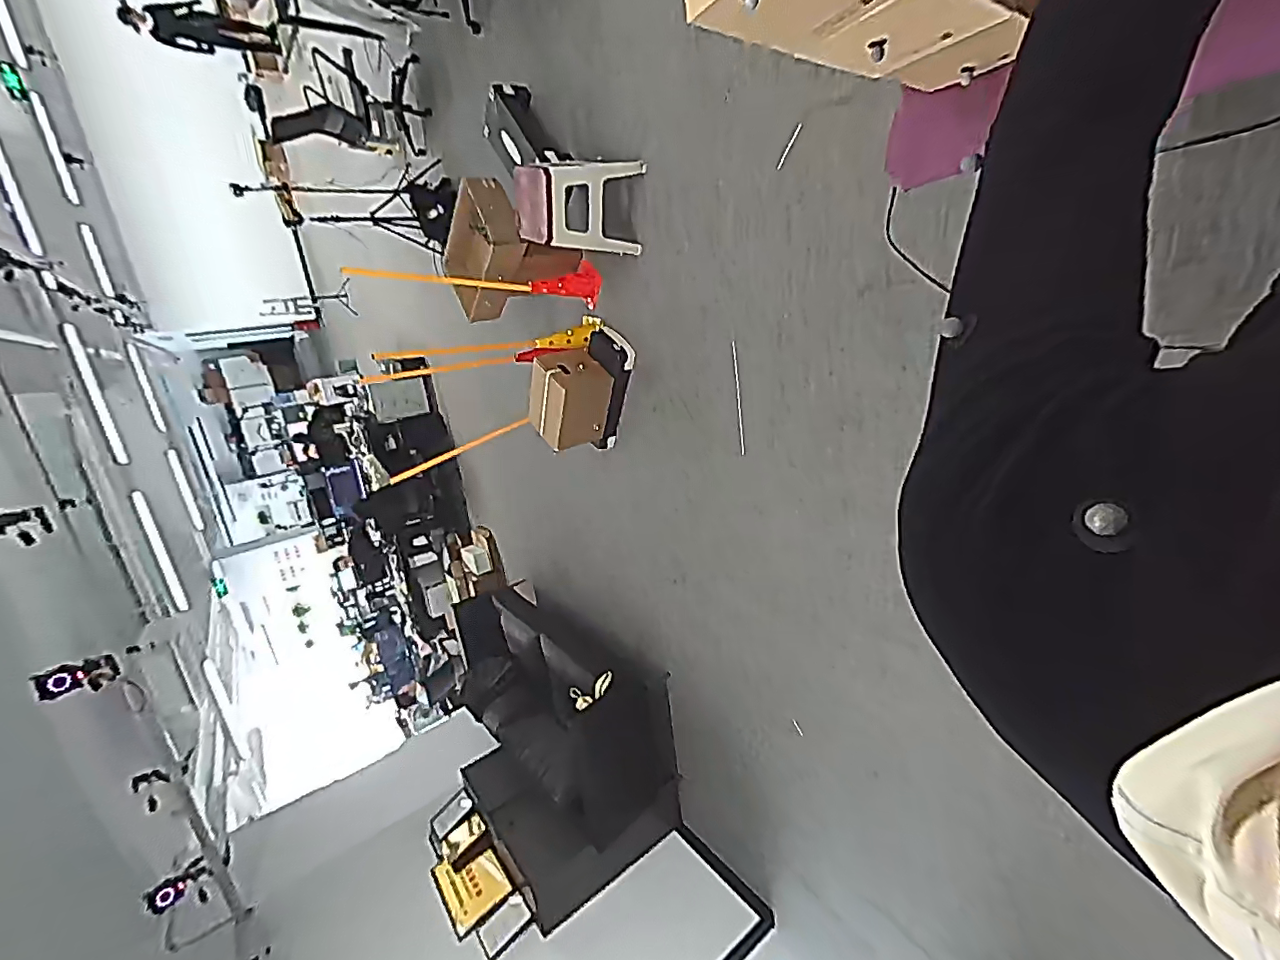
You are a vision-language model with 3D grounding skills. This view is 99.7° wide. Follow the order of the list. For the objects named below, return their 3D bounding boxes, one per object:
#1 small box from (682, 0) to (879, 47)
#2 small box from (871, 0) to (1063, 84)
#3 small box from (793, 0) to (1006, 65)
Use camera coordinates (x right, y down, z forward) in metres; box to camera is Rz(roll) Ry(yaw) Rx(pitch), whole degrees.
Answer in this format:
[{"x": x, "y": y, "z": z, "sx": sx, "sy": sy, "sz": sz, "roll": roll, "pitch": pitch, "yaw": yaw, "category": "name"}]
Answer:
[{"x": 0.148, "y": -0.546, "z": 0.493, "sx": 0.168, "sy": 0.176, "sz": 0.179, "roll": 14, "pitch": 114, "yaw": 55, "category": "small box"}, {"x": 0.407, "y": -0.633, "z": 0.673, "sx": 0.168, "sy": 0.176, "sz": 0.179, "roll": 15, "pitch": 117, "yaw": 52, "category": "small box"}, {"x": 0.282, "y": -0.583, "z": 0.583, "sx": 0.168, "sy": 0.176, "sz": 0.179, "roll": 16, "pitch": 117, "yaw": 53, "category": "small box"}]
